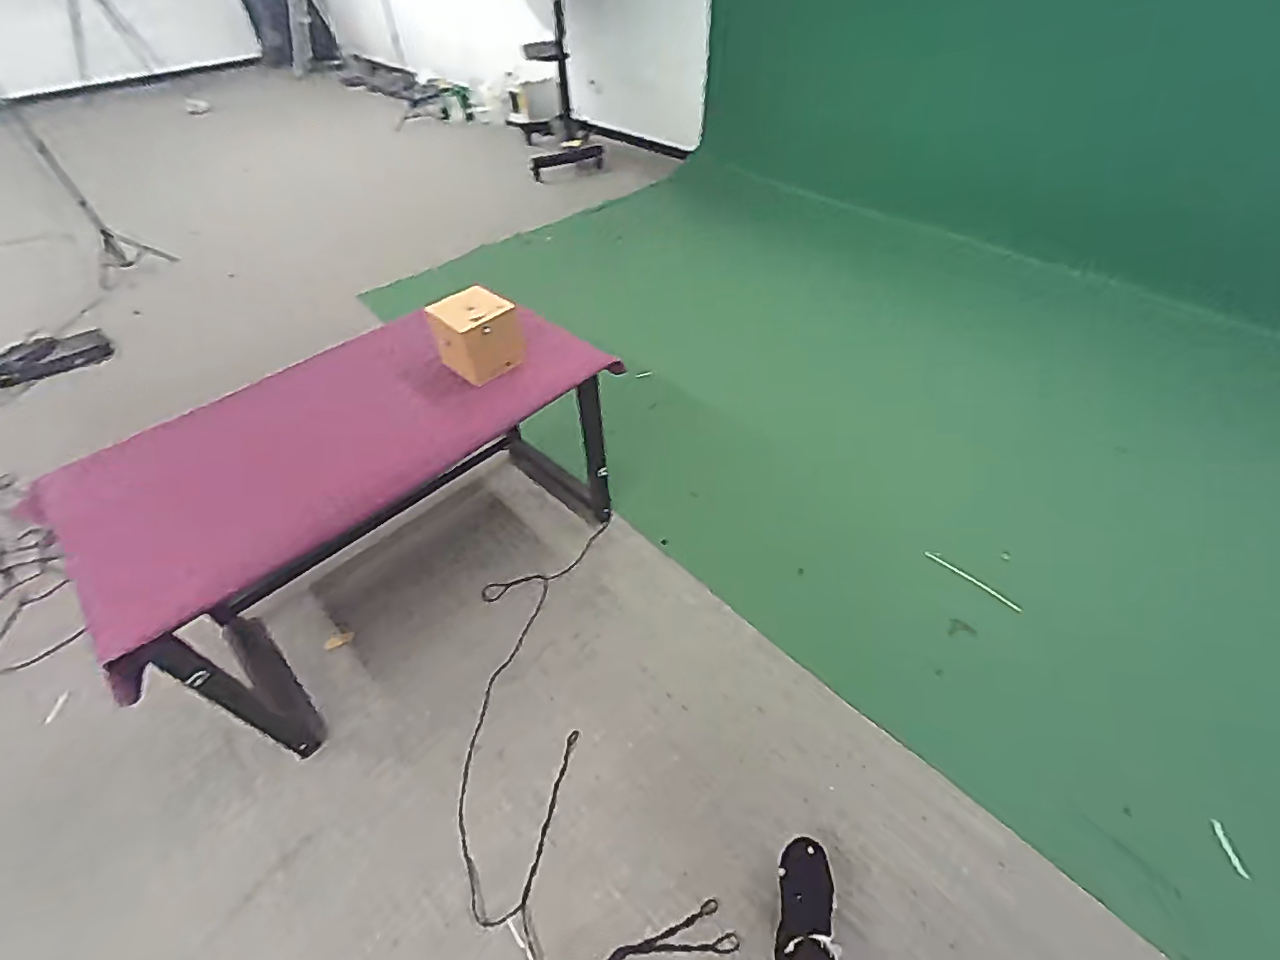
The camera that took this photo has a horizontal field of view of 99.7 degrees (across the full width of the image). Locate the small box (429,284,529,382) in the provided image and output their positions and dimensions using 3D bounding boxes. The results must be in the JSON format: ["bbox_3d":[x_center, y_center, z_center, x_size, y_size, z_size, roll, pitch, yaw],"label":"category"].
[{"bbox_3d":[-0.423,-0.389,1.440,0.179,0.176,0.168,34,59,30],"label":"small box"}]
